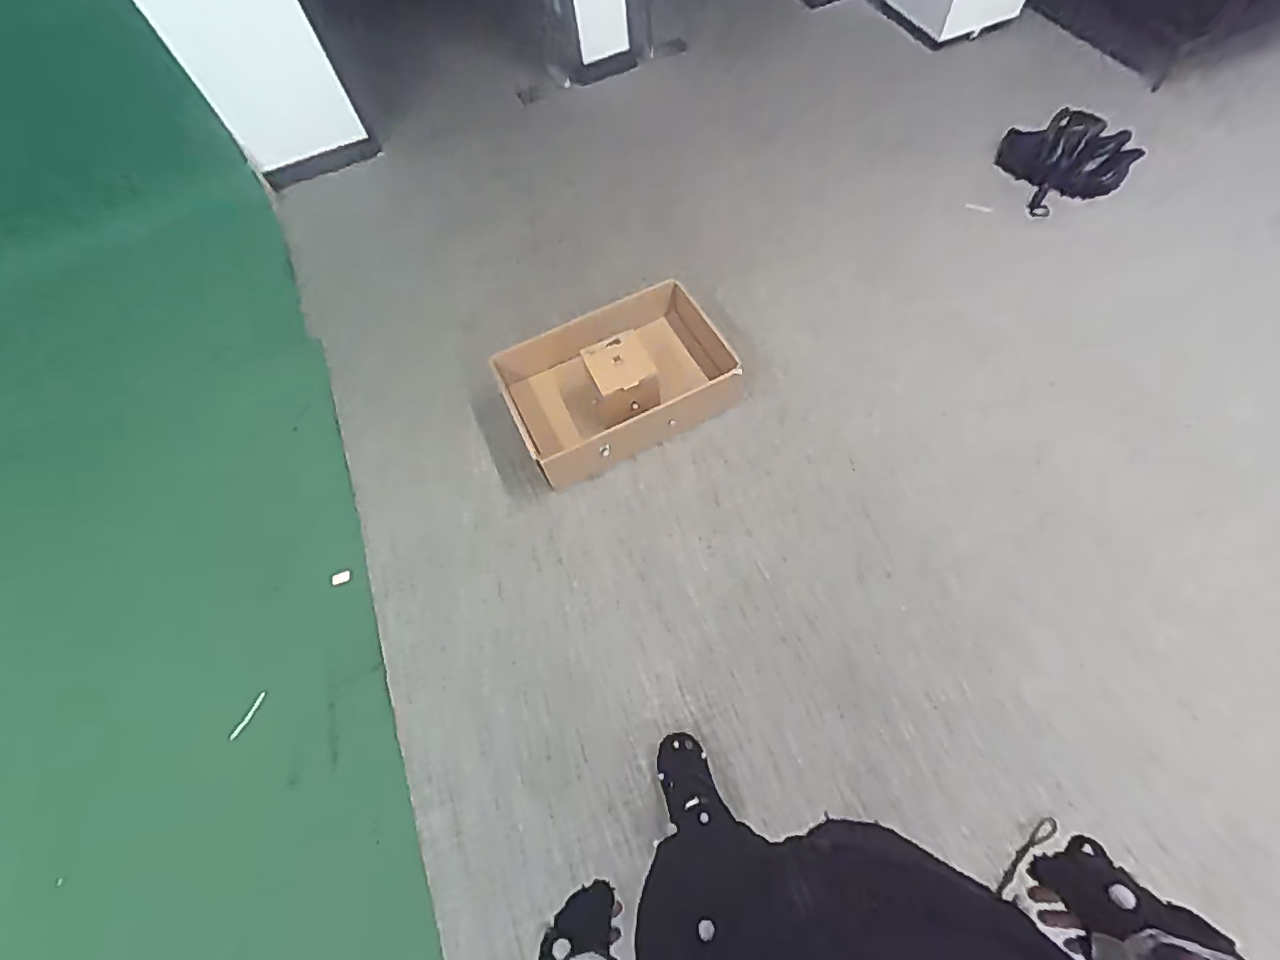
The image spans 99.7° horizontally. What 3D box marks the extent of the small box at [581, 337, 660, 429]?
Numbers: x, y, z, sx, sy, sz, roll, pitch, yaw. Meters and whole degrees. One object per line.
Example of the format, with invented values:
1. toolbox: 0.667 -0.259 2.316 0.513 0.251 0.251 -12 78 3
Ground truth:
1. small box: -0.050 -0.268 1.543 0.168 0.176 0.179 -23 64 -6
